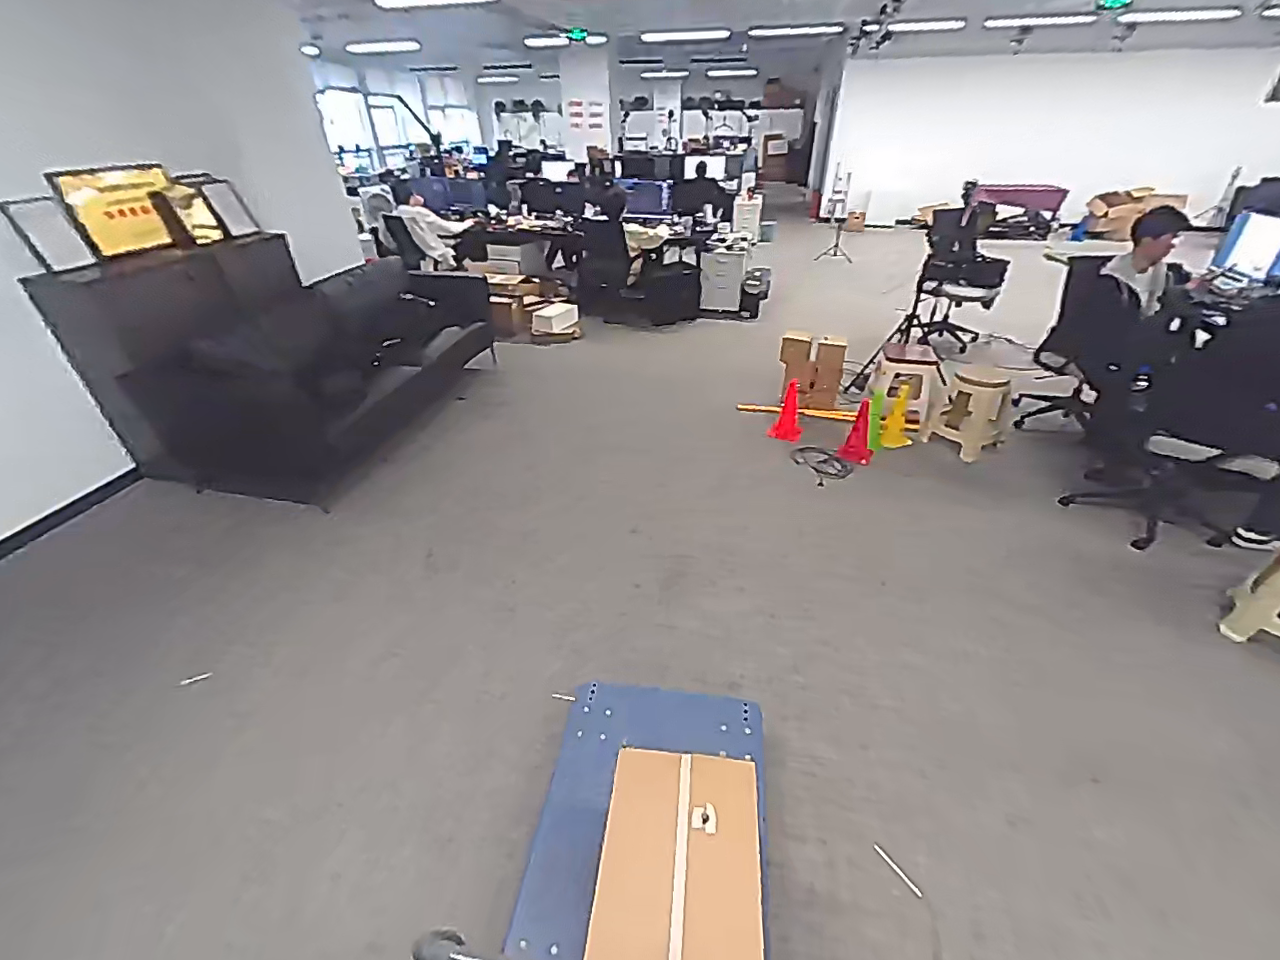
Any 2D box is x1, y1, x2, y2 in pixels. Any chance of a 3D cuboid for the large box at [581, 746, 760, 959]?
[{"bbox_3d":[0.072,0.857,1.151,0.320,0.320,0.408,4,33,6],"label":"large box"}]
